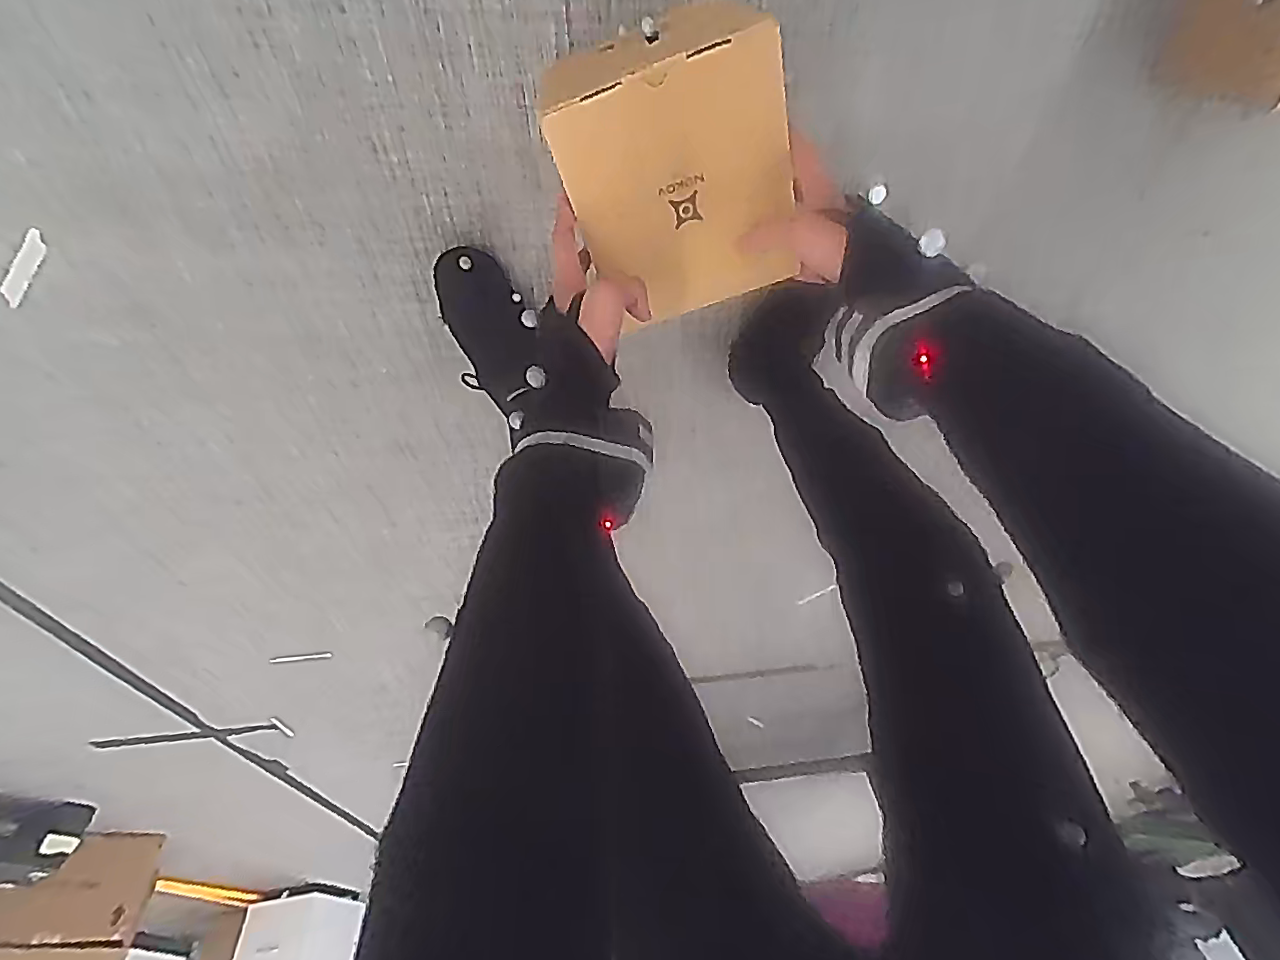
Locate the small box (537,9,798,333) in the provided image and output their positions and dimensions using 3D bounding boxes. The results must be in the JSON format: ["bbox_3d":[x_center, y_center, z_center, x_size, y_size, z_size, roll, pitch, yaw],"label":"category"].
[{"bbox_3d":[0.024,-0.263,0.466,0.168,0.176,0.179,-17,134,7],"label":"small box"}]
